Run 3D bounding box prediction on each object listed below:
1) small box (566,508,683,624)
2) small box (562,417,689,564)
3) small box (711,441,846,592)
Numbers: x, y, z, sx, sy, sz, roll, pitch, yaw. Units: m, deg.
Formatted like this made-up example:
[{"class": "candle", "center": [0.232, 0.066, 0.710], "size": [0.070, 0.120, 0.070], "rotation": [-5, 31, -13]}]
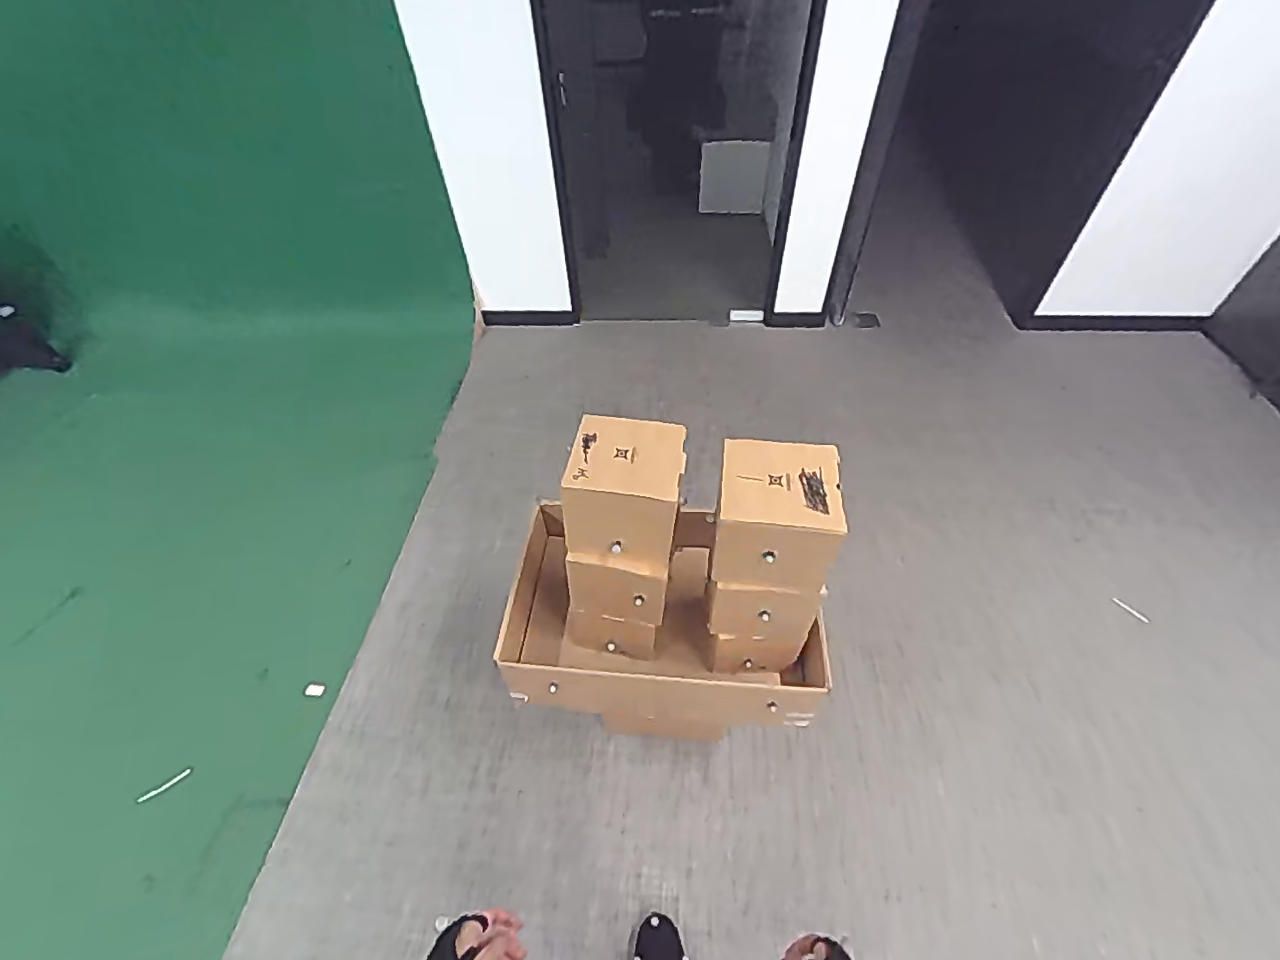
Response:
[{"class": "small box", "center": [-0.026, 0.148, 1.003], "size": [0.179, 0.176, 0.168], "rotation": [10, 48, 7]}, {"class": "small box", "center": [-0.022, 0.022, 0.898], "size": [0.179, 0.176, 0.168], "rotation": [9, 47, 3]}, {"class": "small box", "center": [0.210, 0.061, 0.852], "size": [0.179, 0.176, 0.168], "rotation": [5, 49, 8]}]
